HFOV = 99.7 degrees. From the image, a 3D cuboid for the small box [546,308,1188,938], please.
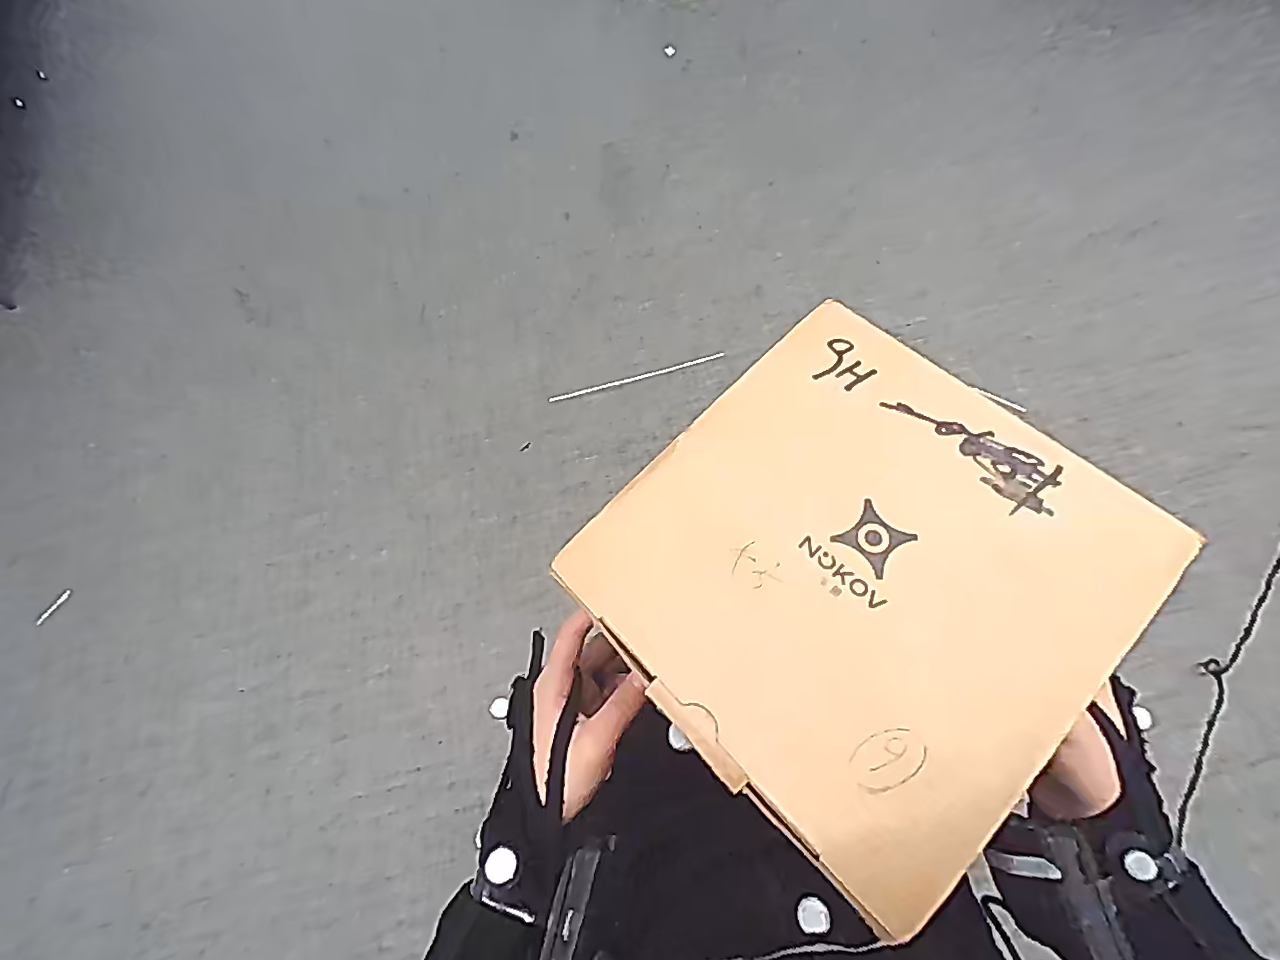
[{"bbox_3d":[0.088,0.060,0.276,0.179,0.176,0.168,-43,69,-10],"label":"small box"}]
